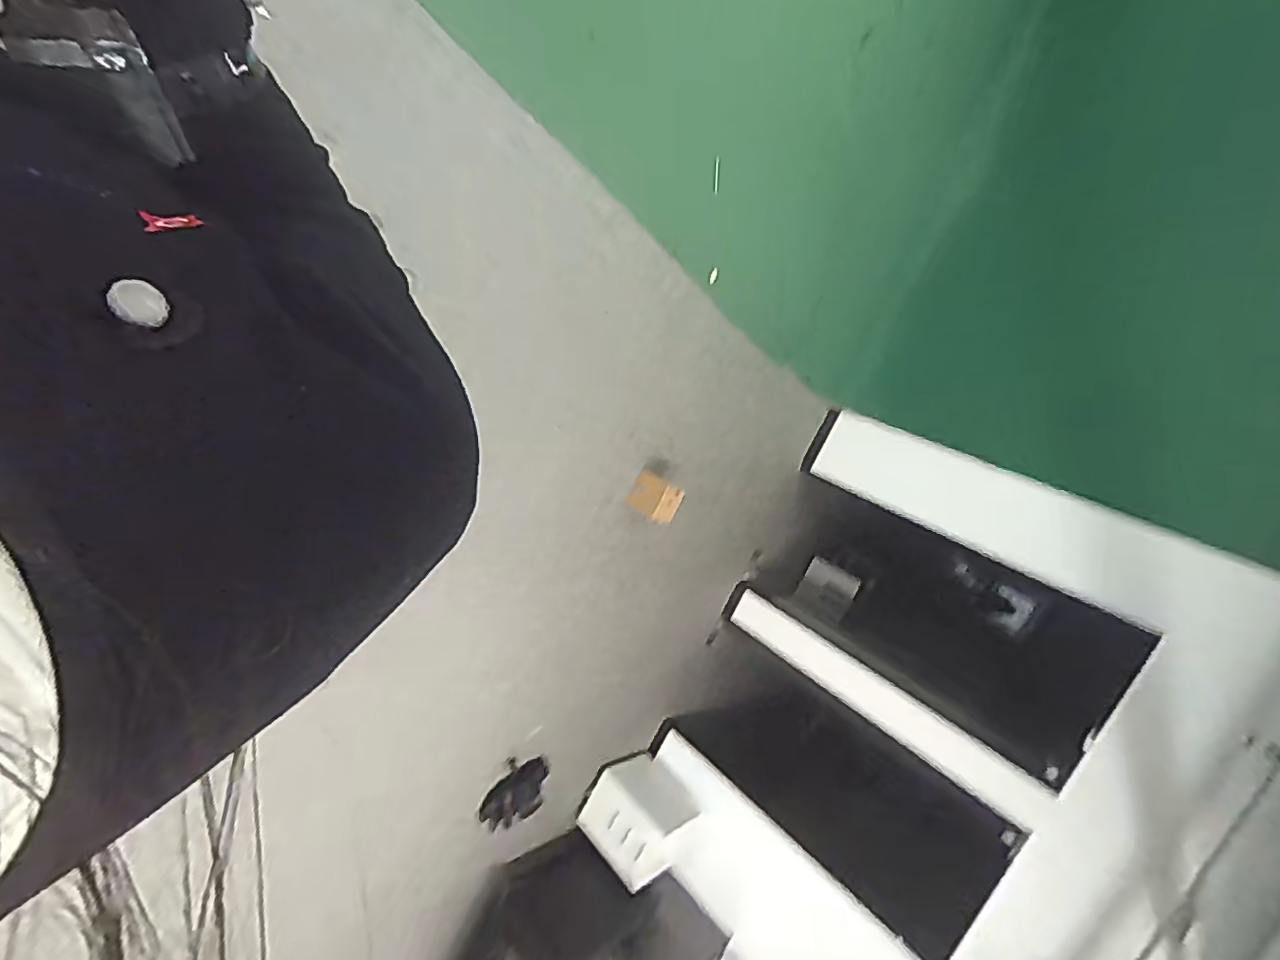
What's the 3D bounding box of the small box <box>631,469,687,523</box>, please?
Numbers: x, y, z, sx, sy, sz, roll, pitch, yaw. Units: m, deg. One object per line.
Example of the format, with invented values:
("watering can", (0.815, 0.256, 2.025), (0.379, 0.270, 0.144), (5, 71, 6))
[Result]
("small box", (0.081, 0.073, 2.509), (0.168, 0.176, 0.179), (22, 98, -54))
